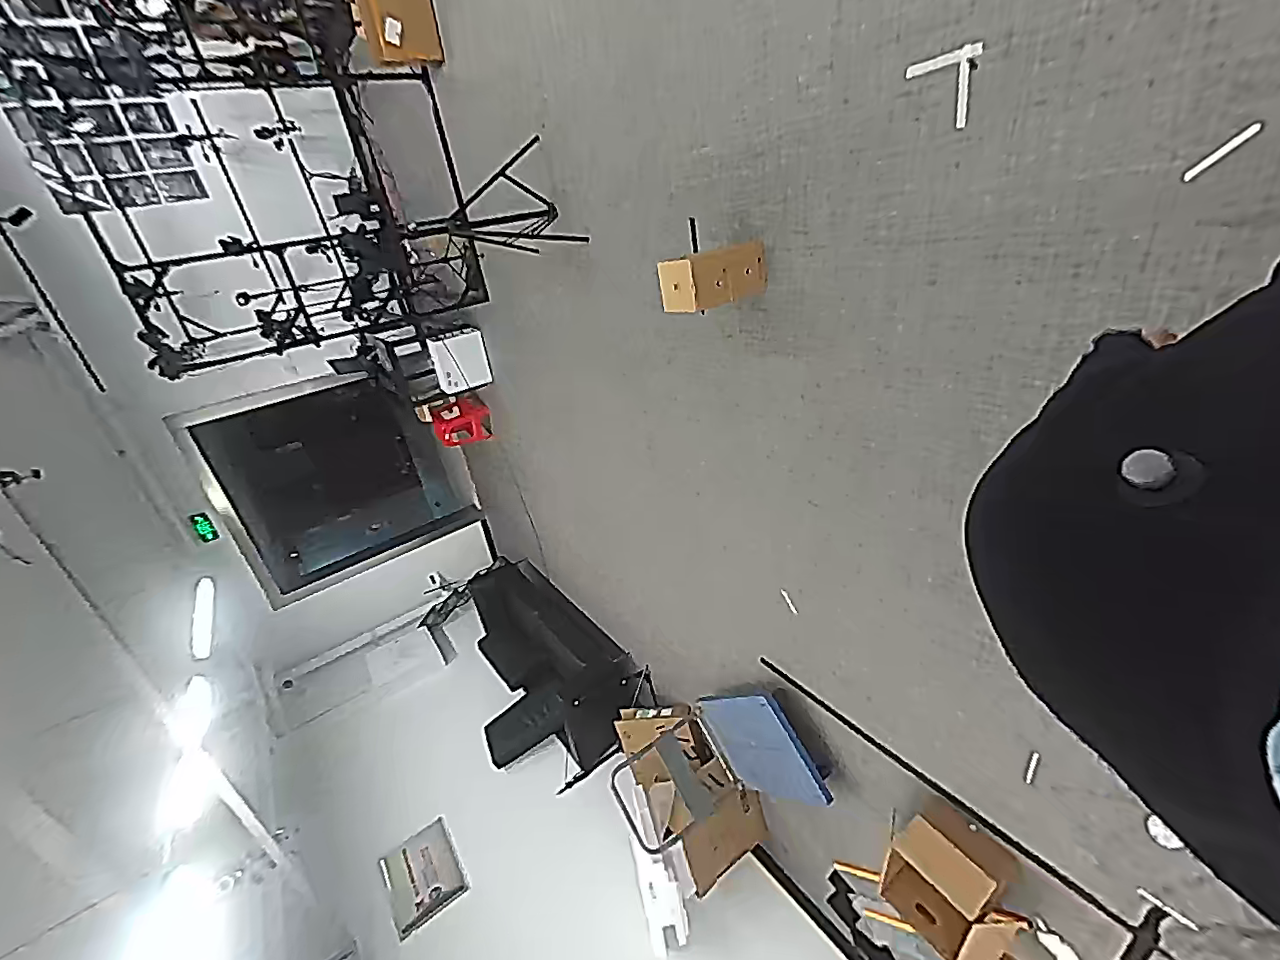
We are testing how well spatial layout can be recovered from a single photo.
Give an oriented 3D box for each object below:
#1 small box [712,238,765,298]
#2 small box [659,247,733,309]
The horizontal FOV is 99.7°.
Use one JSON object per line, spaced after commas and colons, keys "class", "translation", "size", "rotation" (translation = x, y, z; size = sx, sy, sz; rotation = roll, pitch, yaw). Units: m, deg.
{"class": "small box", "translation": [0.323, -0.743, 1.902], "size": [0.179, 0.176, 0.168], "rotation": [23, 131, 53]}
{"class": "small box", "translation": [0.191, -0.682, 1.829], "size": [0.179, 0.176, 0.168], "rotation": [23, 132, 51]}
